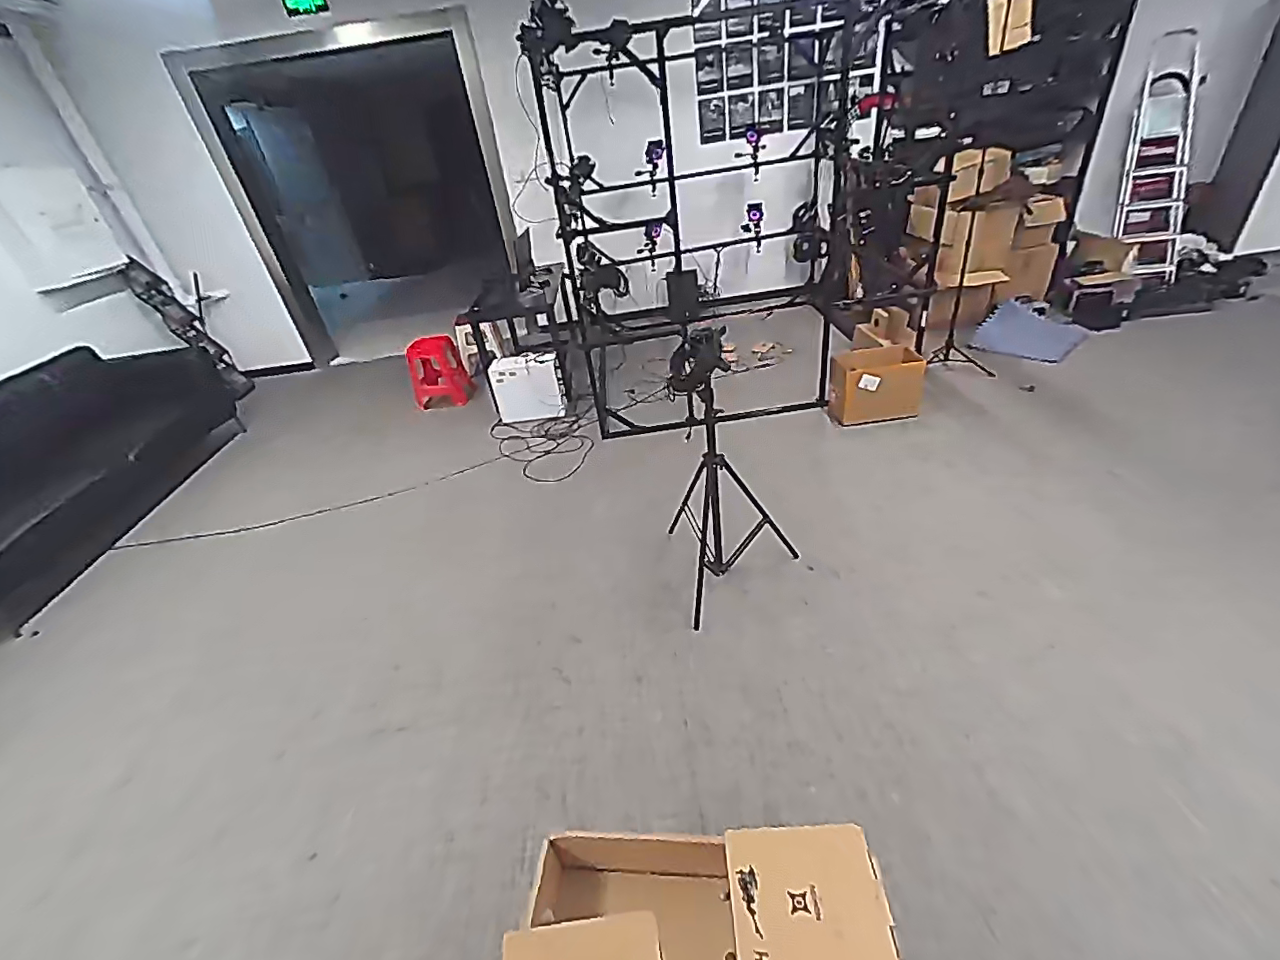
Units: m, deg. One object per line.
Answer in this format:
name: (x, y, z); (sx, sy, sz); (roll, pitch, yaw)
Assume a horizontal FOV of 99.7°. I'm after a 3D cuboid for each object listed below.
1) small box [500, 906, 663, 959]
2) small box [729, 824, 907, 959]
small box: (-0.058, 0.602, 0.603); (0.179, 0.176, 0.168); (-4, 45, -6)
small box: (0.203, 0.546, 0.656); (0.179, 0.176, 0.168); (-5, 32, 5)
